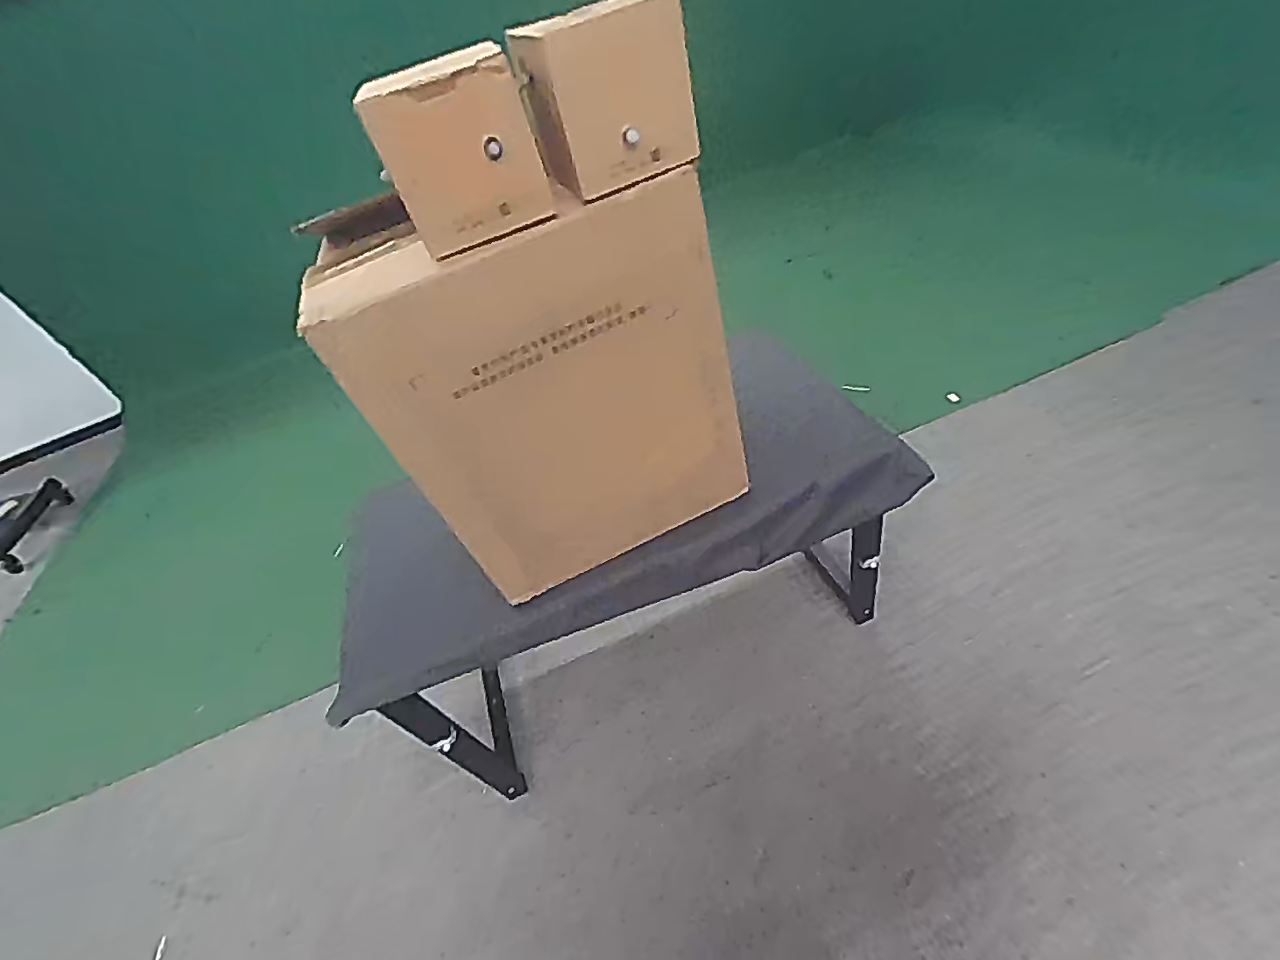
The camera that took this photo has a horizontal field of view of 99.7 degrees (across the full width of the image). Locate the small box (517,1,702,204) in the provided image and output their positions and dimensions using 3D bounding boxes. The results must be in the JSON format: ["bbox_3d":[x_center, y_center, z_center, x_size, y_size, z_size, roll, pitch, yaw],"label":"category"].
[{"bbox_3d":[-0.037,-0.477,0.690,0.168,0.176,0.179,-25,45,-7],"label":"small box"}]
